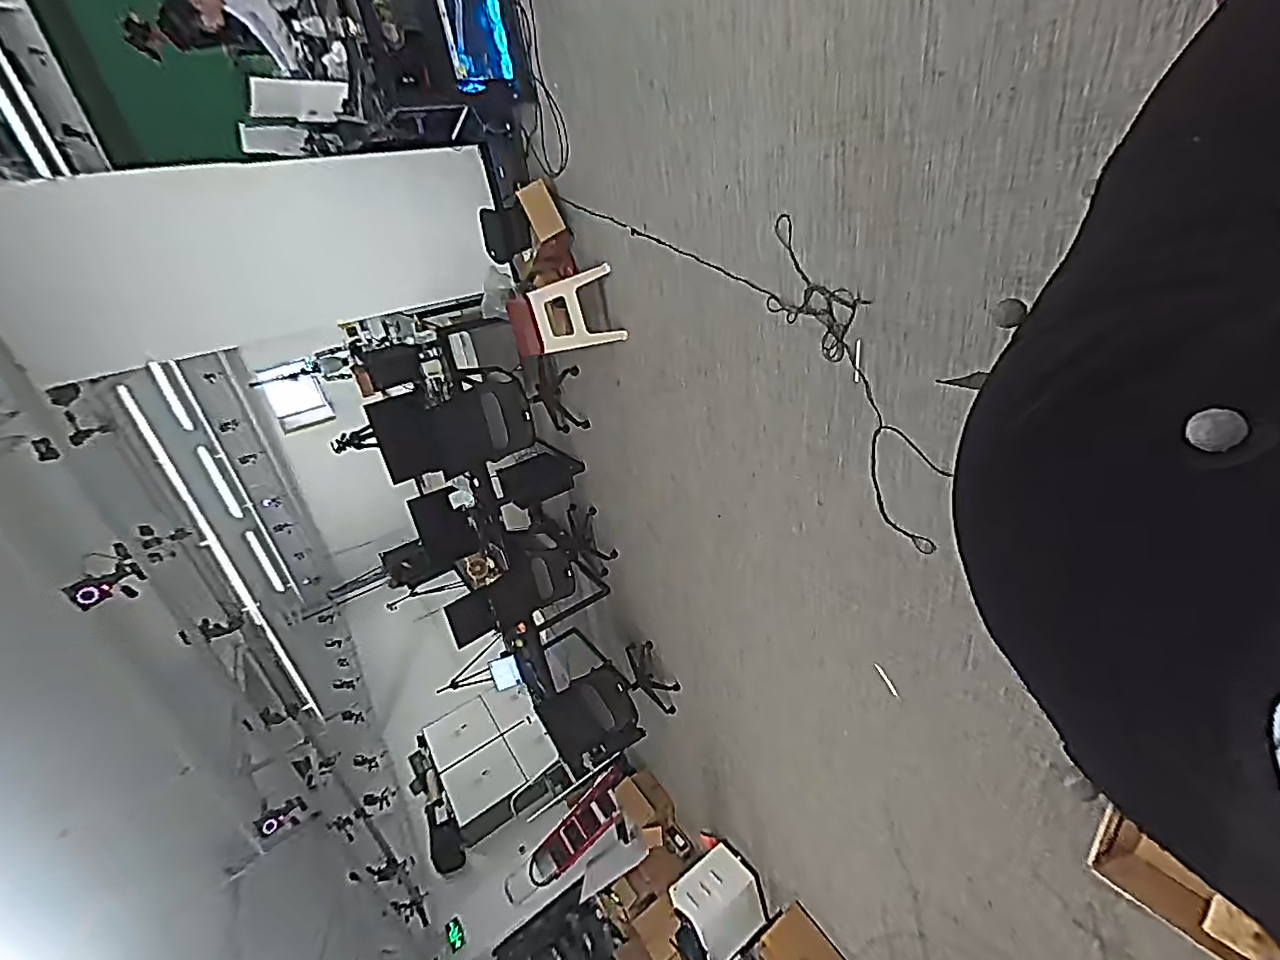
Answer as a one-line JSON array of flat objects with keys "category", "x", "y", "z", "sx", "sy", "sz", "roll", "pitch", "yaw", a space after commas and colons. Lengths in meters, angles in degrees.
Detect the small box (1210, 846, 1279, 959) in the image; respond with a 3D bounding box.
[{"category": "small box", "x": 1.471, "y": 1.000, "z": 1.243, "sx": 0.168, "sy": 0.176, "sz": 0.179, "roll": 24, "pitch": 132, "yaw": 54}]
